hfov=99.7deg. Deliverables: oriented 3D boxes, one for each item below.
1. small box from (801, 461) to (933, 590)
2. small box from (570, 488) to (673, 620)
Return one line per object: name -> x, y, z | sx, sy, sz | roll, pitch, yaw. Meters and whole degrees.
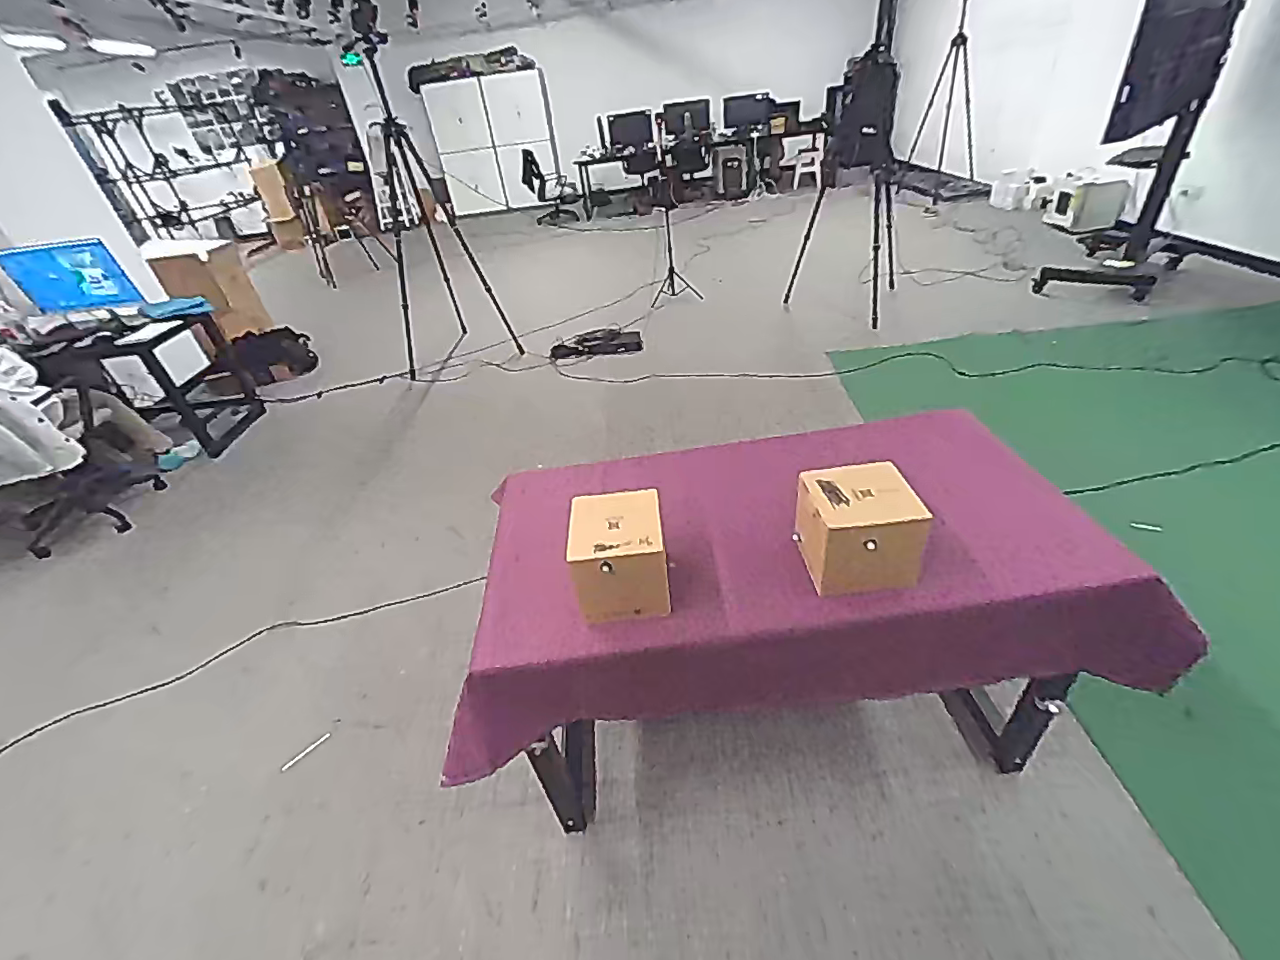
small box -> 0.403, 0.086, 0.996 | 0.179, 0.176, 0.168 | -7, 37, 2
small box -> -0.029, 0.137, 1.016 | 0.168, 0.176, 0.179 | -7, 36, 3
